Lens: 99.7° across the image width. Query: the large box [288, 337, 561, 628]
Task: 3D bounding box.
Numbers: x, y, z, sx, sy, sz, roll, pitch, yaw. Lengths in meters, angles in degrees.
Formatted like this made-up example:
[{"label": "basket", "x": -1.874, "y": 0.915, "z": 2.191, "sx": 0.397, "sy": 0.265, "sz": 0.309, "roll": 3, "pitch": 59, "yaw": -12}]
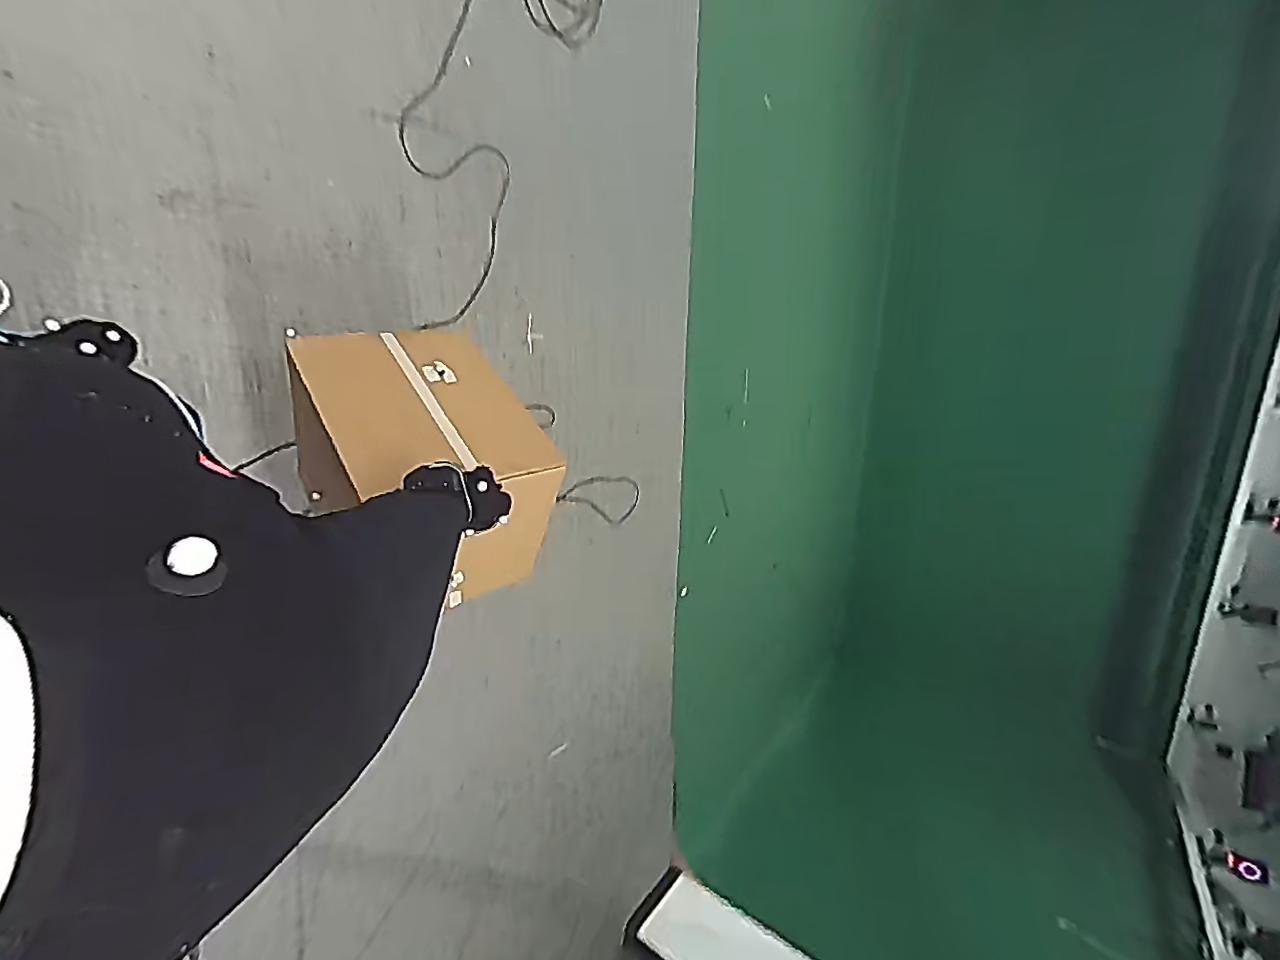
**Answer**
[{"label": "large box", "x": -0.404, "y": -0.016, "z": 0.991, "sx": 0.320, "sy": 0.408, "sz": 0.320, "roll": -14, "pitch": 142, "yaw": -40}]
